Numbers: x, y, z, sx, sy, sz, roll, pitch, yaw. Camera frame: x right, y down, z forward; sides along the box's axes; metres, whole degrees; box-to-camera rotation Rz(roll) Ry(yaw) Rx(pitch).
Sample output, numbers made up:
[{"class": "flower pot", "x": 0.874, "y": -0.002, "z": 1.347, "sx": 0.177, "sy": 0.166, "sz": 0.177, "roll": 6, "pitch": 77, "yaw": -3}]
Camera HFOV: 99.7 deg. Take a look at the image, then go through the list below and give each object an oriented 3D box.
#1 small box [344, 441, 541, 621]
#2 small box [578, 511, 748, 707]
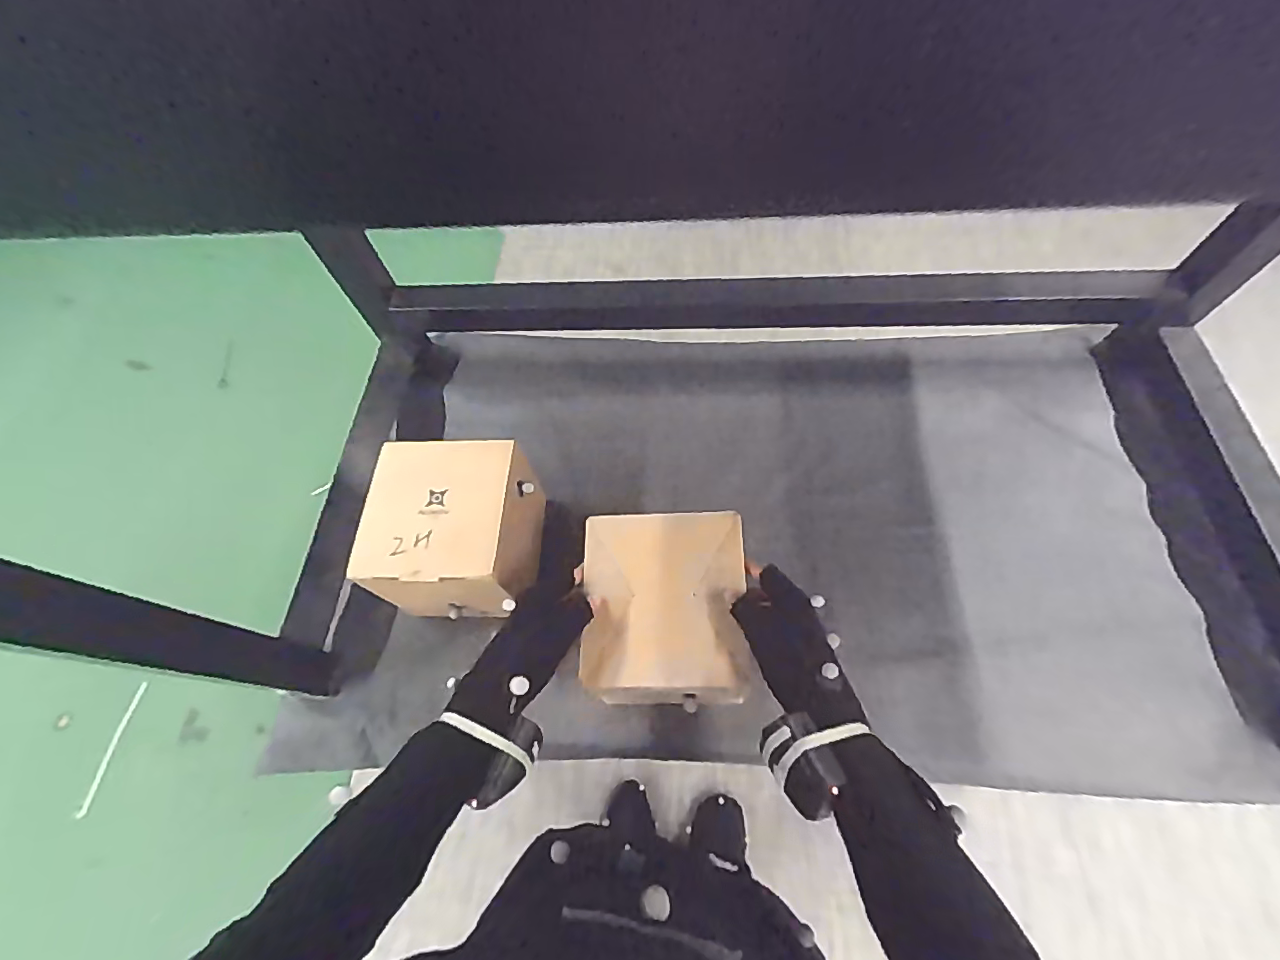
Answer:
[{"class": "small box", "x": -0.229, "y": 0.068, "z": 0.685, "sx": 0.168, "sy": 0.176, "sz": 0.179, "roll": -1, "pitch": 61, "yaw": 5}, {"class": "small box", "x": 0.029, "y": 0.151, "z": 0.608, "sx": 0.168, "sy": 0.176, "sz": 0.179, "roll": -2, "pitch": 62, "yaw": 5}]
